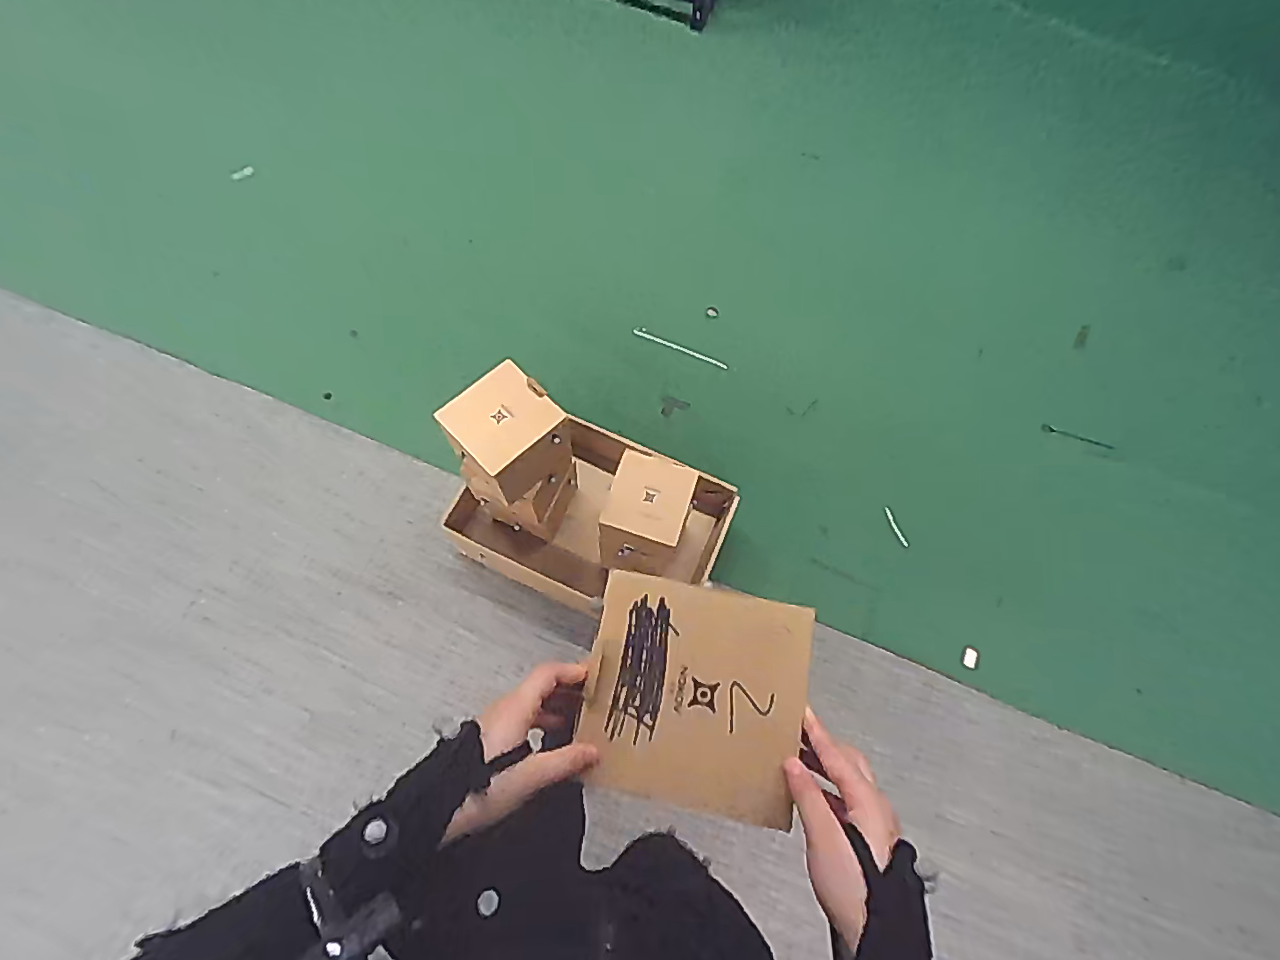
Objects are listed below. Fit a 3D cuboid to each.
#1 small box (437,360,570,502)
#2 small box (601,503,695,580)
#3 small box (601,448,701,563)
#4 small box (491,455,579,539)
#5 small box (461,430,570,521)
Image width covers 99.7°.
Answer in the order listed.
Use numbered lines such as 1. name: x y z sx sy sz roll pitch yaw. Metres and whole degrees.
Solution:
1. small box: -0.246 -0.085 1.026 0.179 0.176 0.168 -42 77 -19
2. small box: 0.014 0.120 1.320 0.168 0.176 0.179 27 69 8
3. small box: 0.022 0.061 1.168 0.168 0.176 0.179 18 70 5
4. small box: -0.261 0.020 1.335 0.168 0.176 0.179 22 68 4
5. small box: -0.258 -0.033 1.180 0.168 0.176 0.179 23 68 4
